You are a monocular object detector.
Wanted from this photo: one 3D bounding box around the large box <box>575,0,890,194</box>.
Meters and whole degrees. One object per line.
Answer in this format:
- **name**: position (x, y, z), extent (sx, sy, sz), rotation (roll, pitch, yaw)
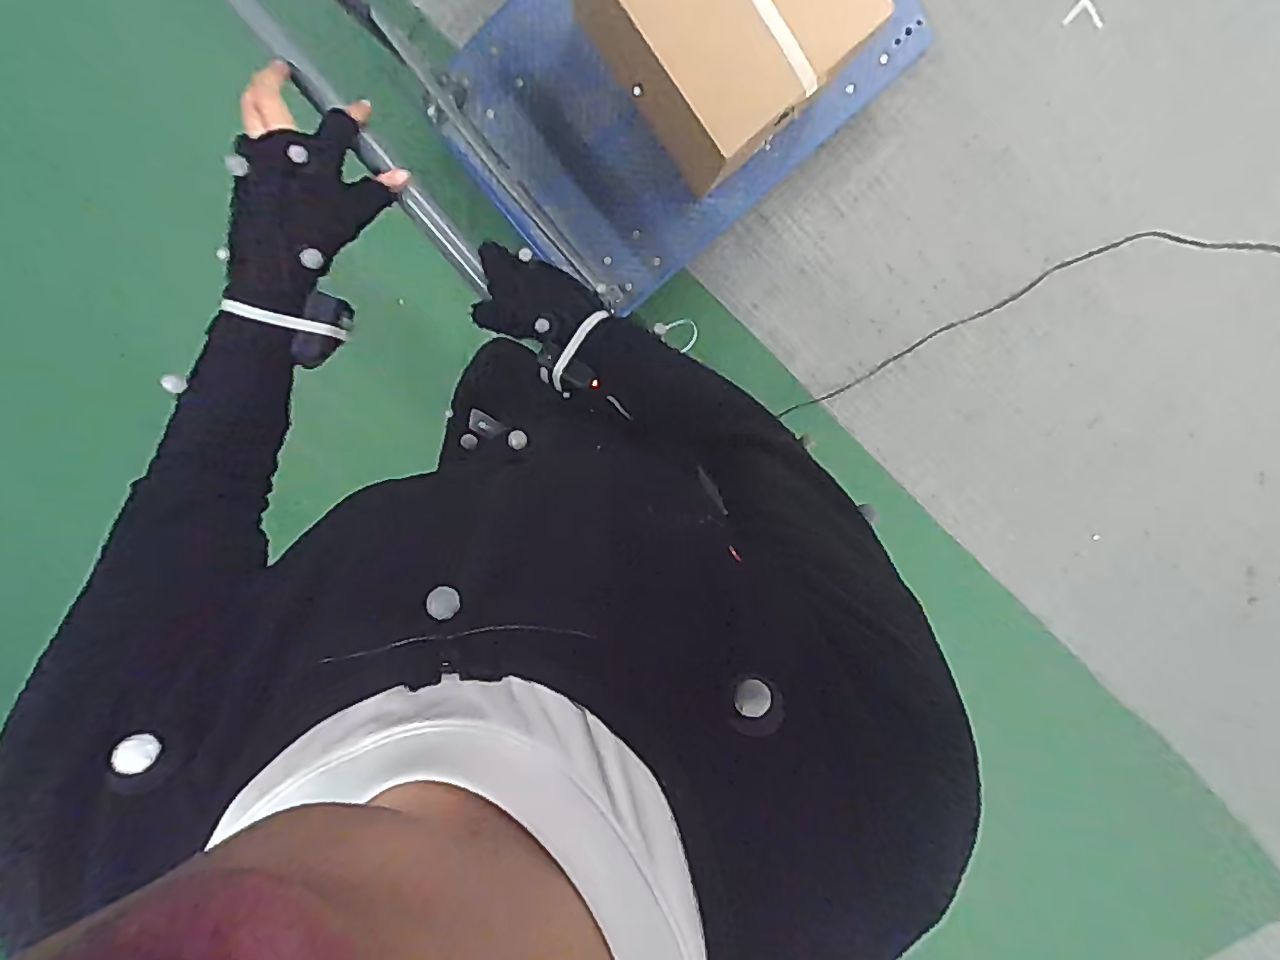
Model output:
- **large box**: position (0.124, -0.785, 0.914), extent (0.320, 0.320, 0.408), rotation (-39, 103, 9)
